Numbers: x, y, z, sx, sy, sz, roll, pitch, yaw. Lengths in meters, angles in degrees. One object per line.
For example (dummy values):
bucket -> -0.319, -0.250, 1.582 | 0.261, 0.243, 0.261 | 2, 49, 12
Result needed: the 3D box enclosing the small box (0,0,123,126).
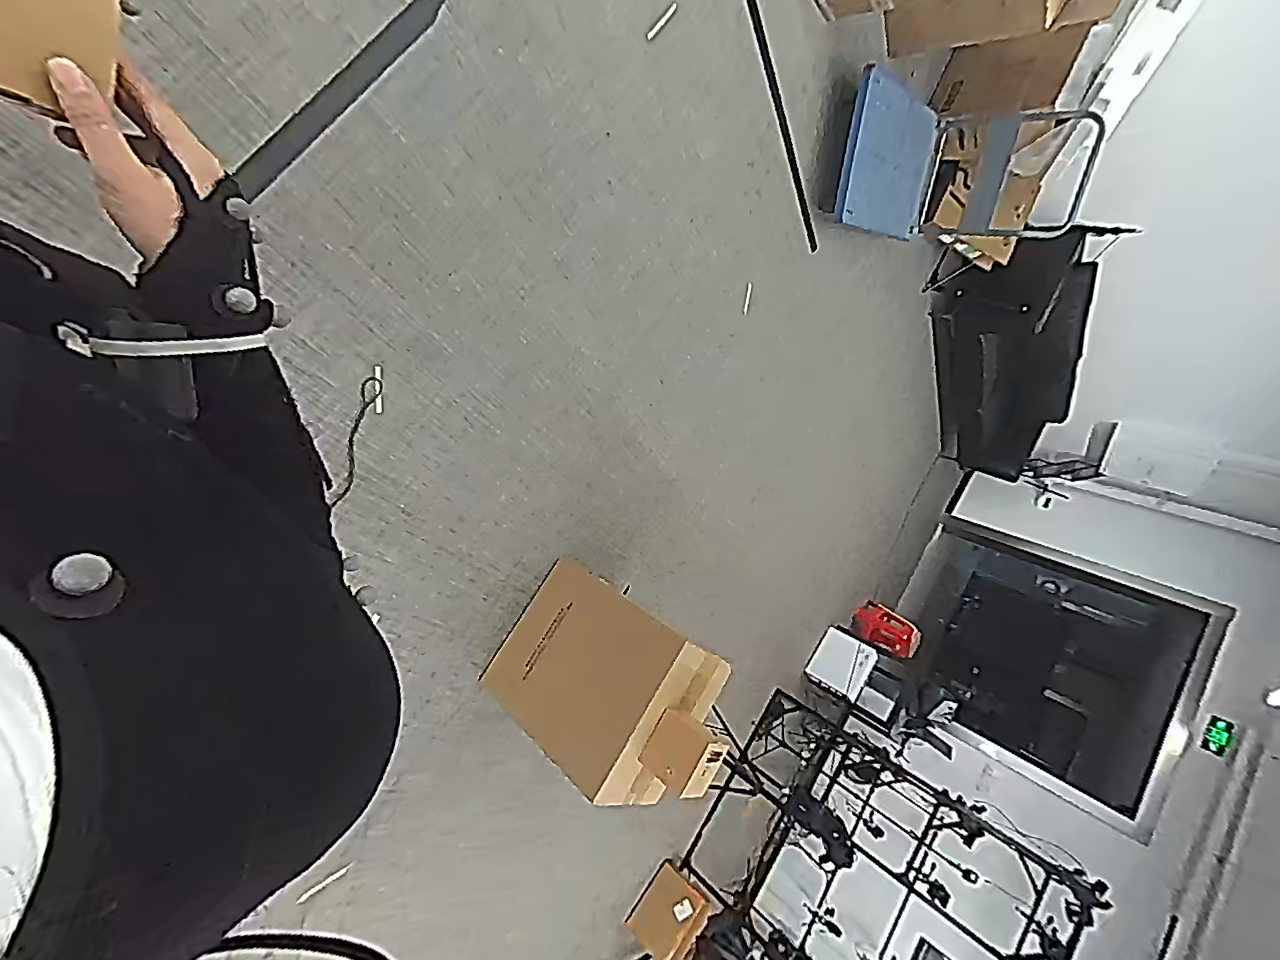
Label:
small box -> -0.369, -0.306, 0.258 | 0.168, 0.176, 0.179 | 1, 113, -54
